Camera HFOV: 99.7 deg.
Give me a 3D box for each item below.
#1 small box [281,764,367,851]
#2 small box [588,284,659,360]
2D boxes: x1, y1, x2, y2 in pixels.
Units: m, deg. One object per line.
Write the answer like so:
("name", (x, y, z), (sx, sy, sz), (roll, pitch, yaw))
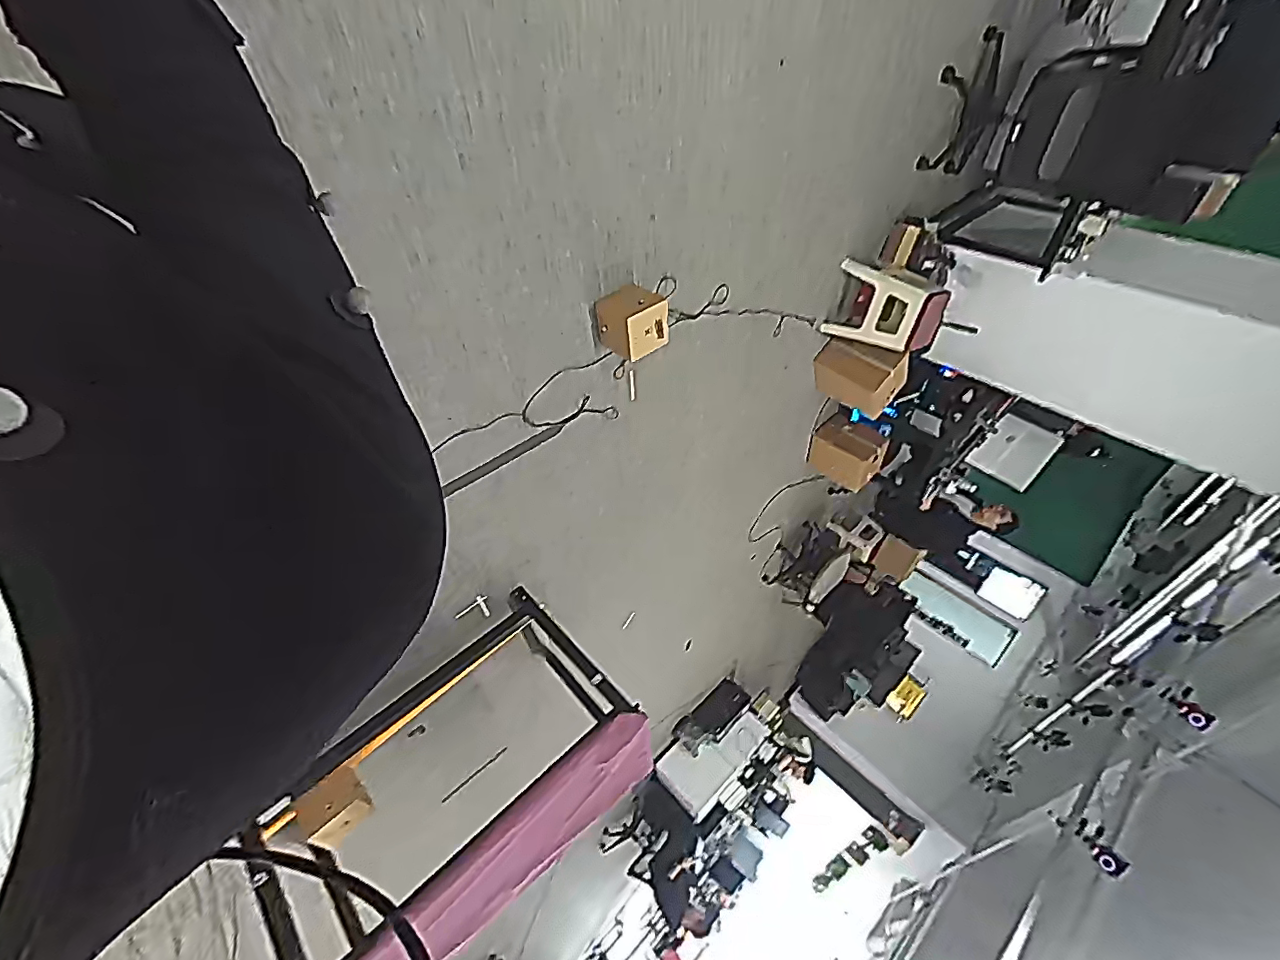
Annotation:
("small box", (-1.083, 1.117, 1.854), (0.179, 0.176, 0.168), (-37, 143, -27))
("small box", (-0.054, -0.541, 1.830), (0.179, 0.176, 0.168), (-35, 143, -25))
